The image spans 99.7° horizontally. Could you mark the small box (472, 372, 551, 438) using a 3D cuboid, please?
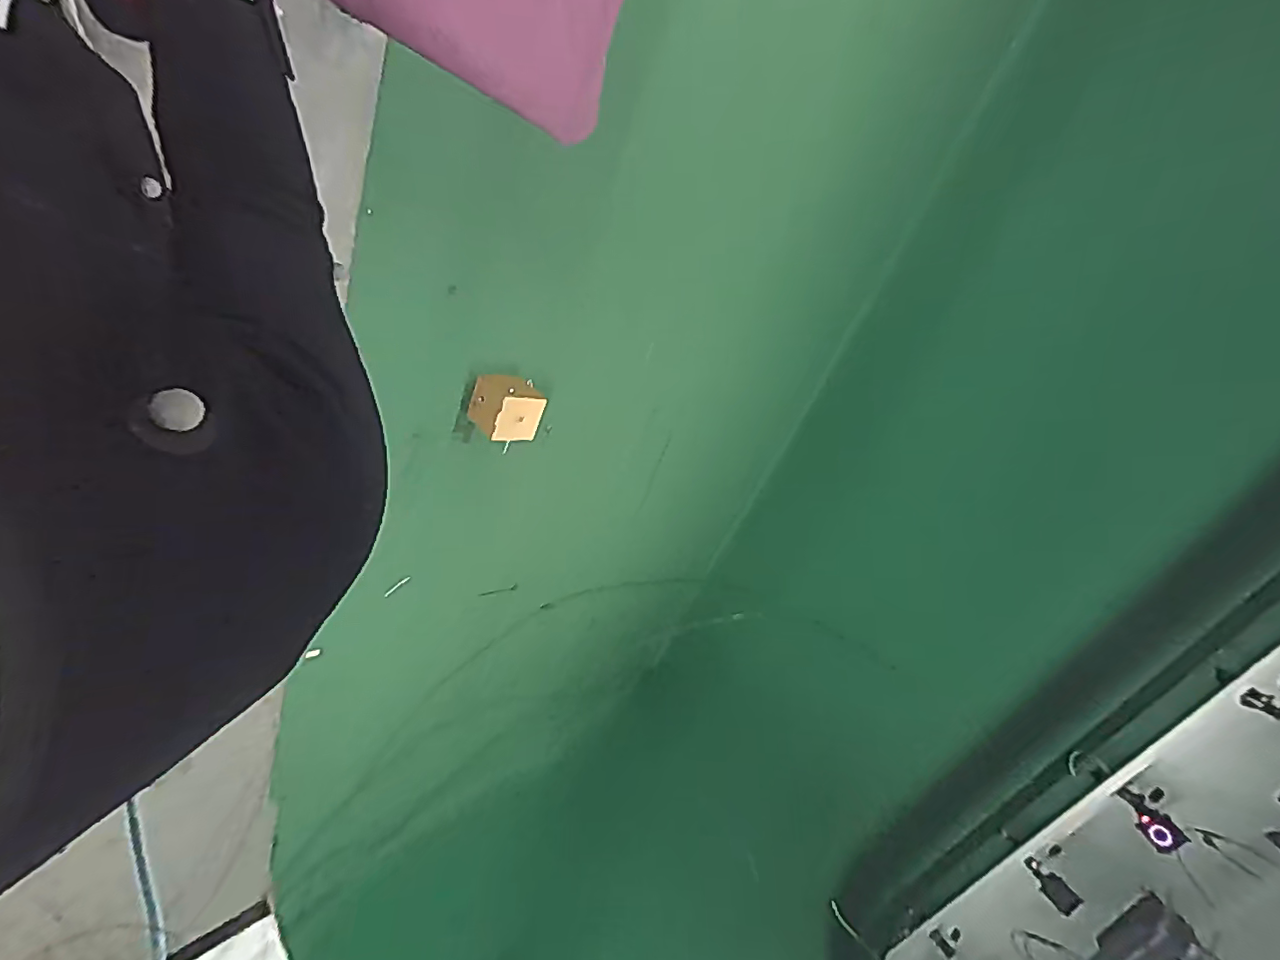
[{"bbox_3d":[-0.446,-0.260,1.866,0.179,0.176,0.168,-6,129,-49],"label":"small box"}]
